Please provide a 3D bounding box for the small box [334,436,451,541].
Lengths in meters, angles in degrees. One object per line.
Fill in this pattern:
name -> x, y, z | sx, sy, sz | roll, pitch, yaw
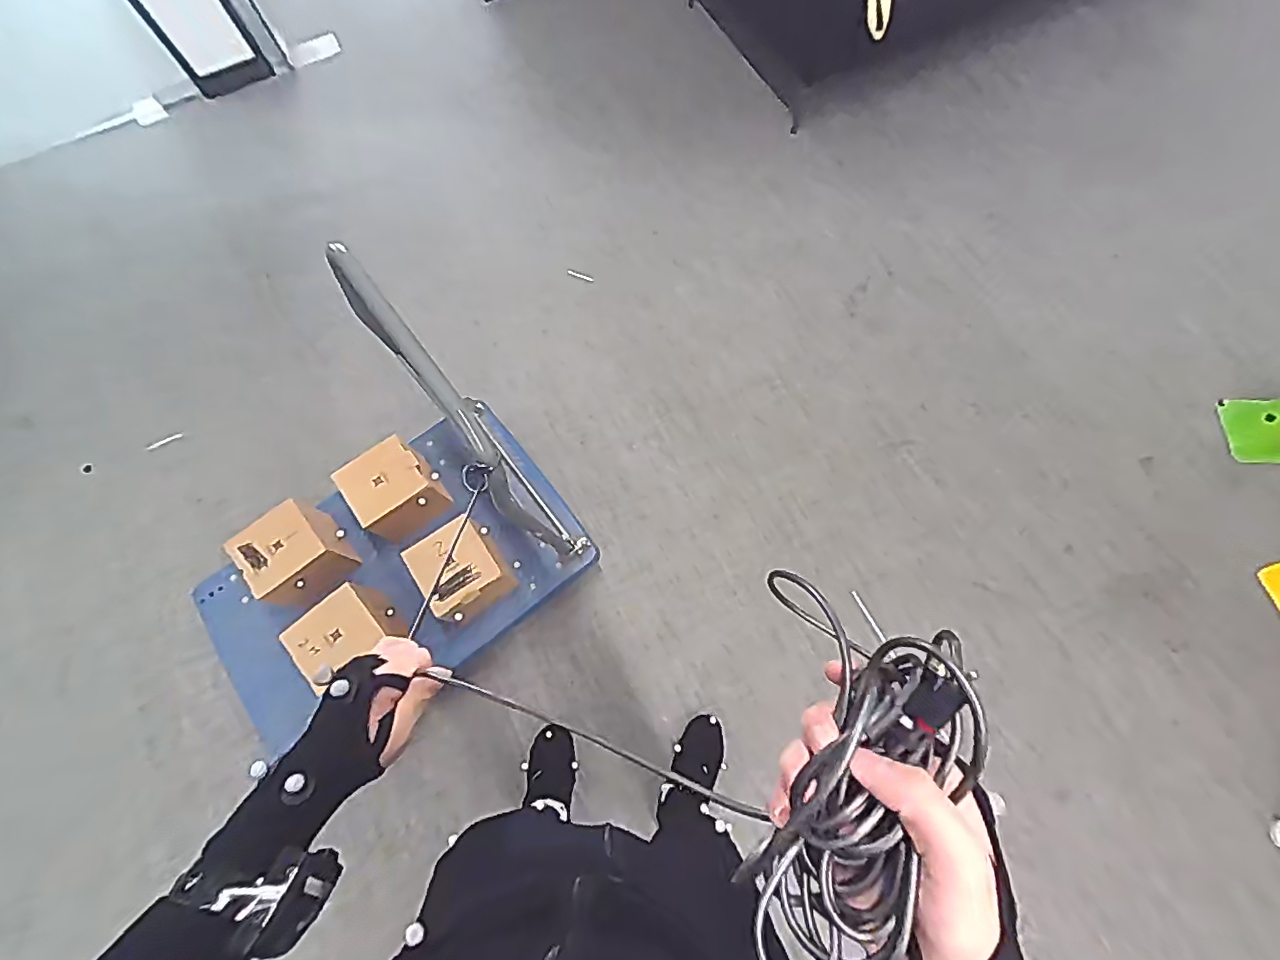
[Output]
small box -> -0.601, 0.029, 1.333 | 0.179, 0.176, 0.168 | -36, 74, -11

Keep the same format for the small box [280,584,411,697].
small box -> -0.646, 0.361, 1.218 | 0.179, 0.176, 0.168 | -40, 74, -11

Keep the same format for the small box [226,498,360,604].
small box -> -0.813, 0.177, 1.285 | 0.179, 0.176, 0.168 | -39, 75, -11
